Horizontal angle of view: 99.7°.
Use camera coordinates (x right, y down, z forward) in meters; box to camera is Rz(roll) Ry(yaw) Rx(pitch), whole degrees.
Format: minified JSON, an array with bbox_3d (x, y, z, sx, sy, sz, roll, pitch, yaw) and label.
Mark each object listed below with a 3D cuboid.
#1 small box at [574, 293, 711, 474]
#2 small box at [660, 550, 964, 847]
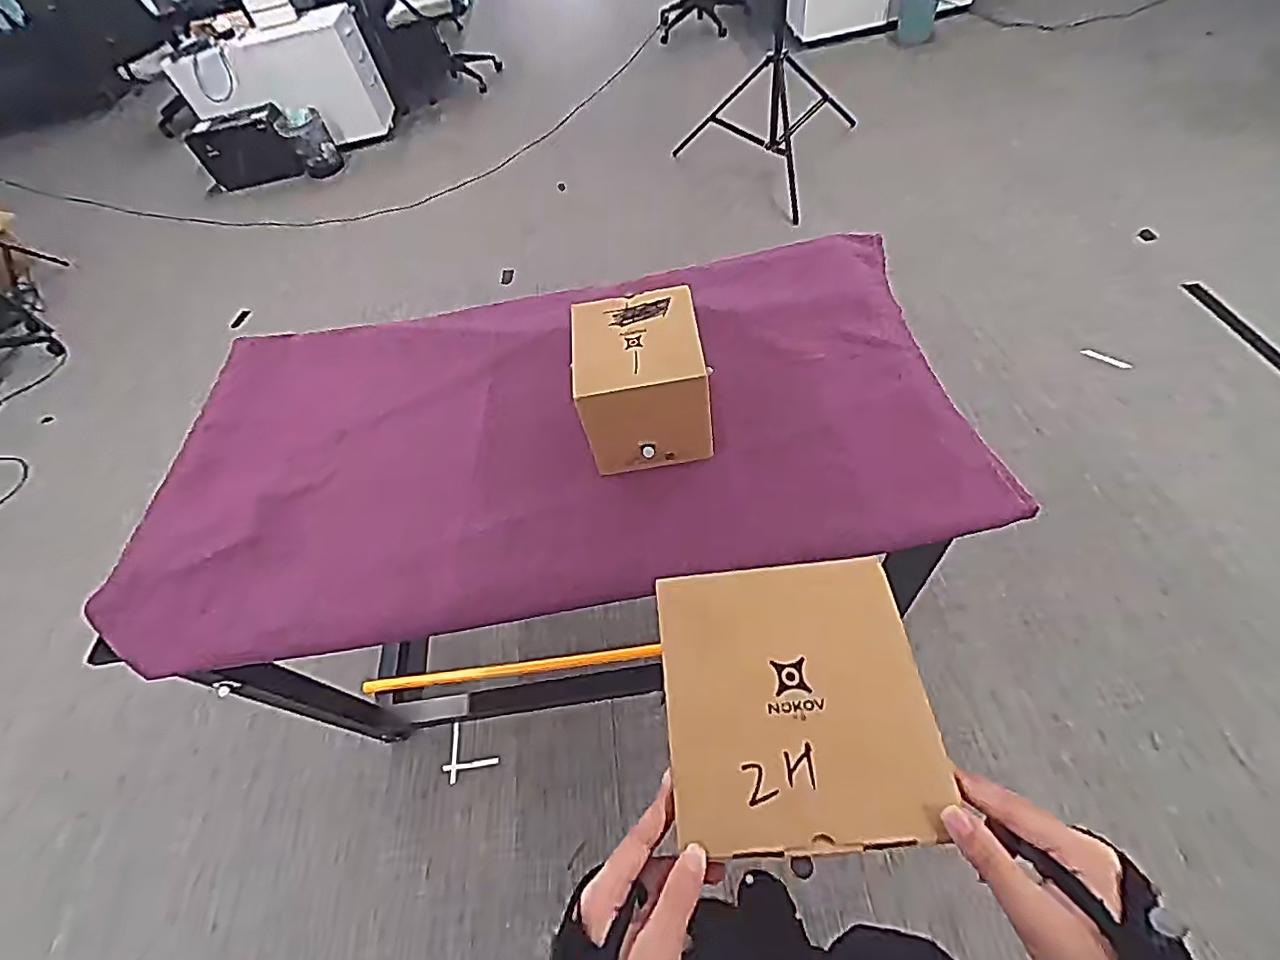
[{"bbox_3d":[0.006,-0.132,0.765,0.168,0.176,0.179,-9,55,5],"label":"small box"},{"bbox_3d":[0.107,0.175,0.420,0.168,0.176,0.179,-7,55,4],"label":"small box"}]
